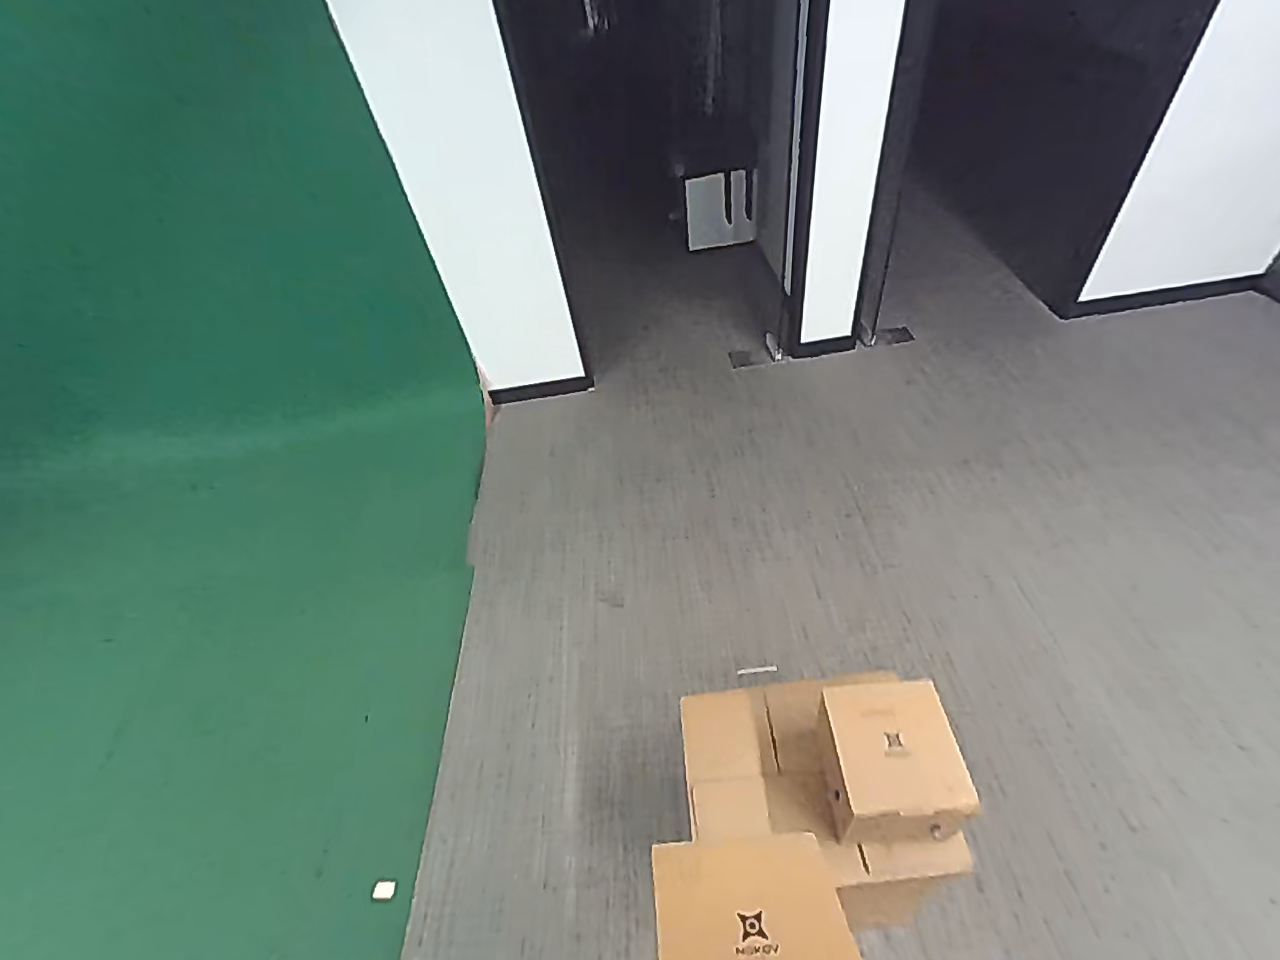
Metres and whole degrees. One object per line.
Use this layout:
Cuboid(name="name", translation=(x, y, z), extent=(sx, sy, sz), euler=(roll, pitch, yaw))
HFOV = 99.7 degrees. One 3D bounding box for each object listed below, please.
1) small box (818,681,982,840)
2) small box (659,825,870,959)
Cuboid(name="small box", translation=(0.375, 0.427, 0.816), extent=(0.168, 0.176, 0.179), euler=(-7, 44, 6))
Cuboid(name="small box", translation=(0.104, 0.455, 0.486), extent=(0.168, 0.176, 0.179), euler=(-4, 17, -2))
